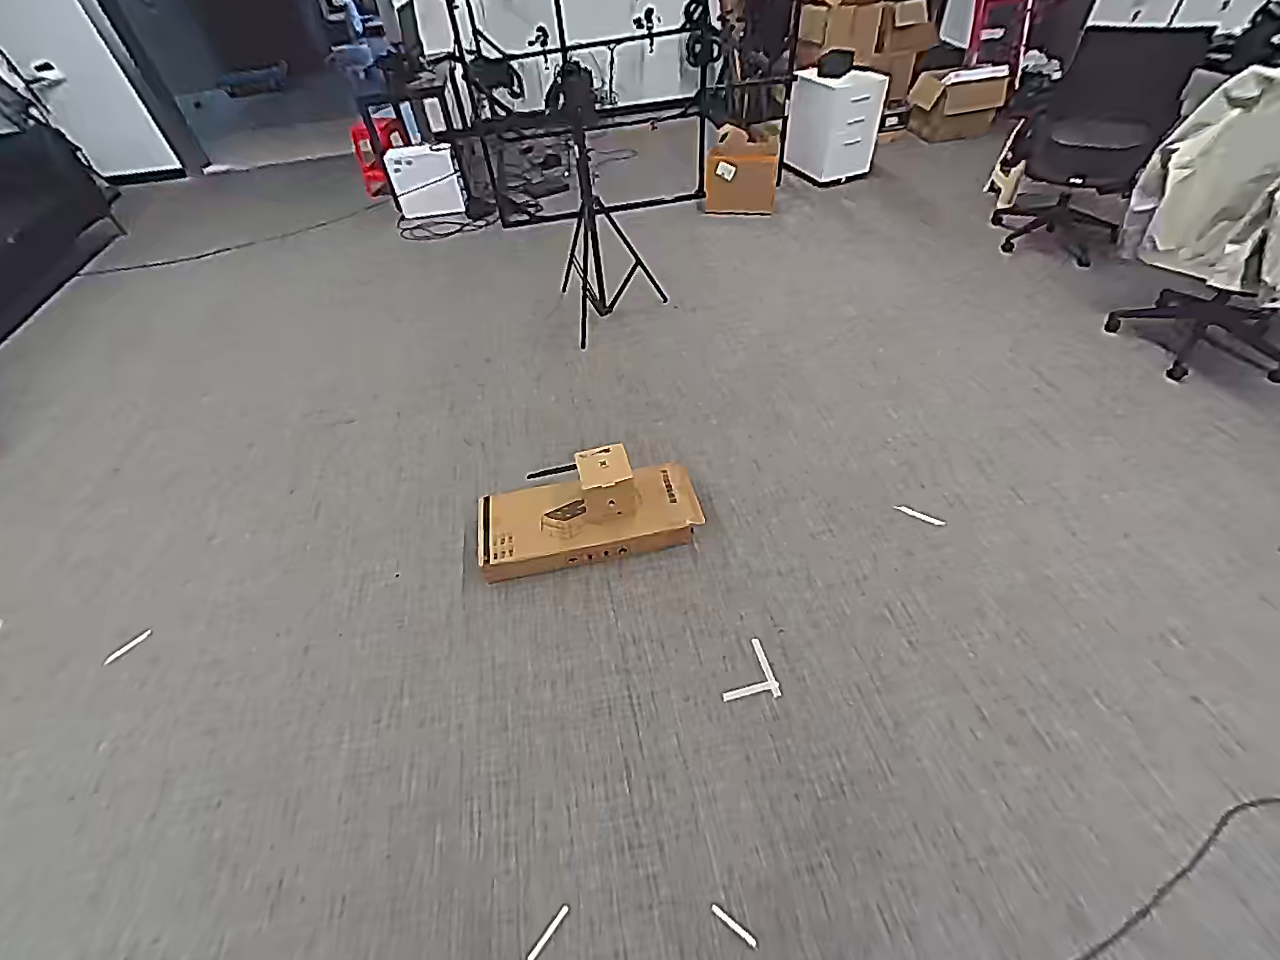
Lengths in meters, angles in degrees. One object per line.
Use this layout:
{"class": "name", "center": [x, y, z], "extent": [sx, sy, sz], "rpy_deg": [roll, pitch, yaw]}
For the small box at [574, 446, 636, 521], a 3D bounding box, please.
{"class": "small box", "center": [-0.114, 0.017, 1.792], "extent": [0.168, 0.176, 0.179], "rpy_deg": [-13, 47, -6]}
